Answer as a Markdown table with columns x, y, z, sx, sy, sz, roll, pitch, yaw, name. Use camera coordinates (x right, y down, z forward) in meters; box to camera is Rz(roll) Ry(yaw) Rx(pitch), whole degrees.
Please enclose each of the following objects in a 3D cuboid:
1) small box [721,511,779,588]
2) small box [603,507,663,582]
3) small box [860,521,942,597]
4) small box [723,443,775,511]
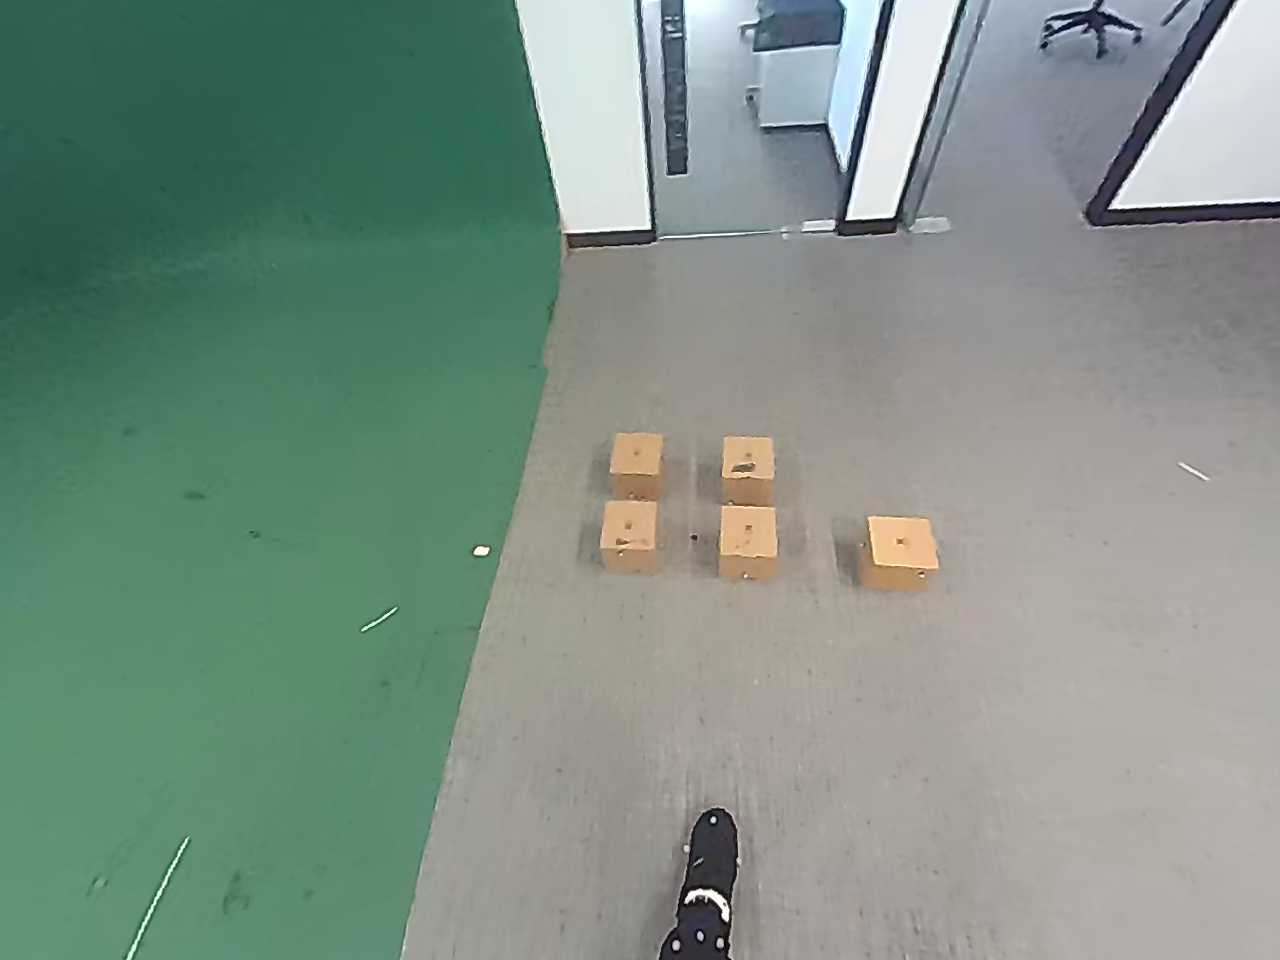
| x | y | z | sx | sy | sz | roll | pitch | yaw | name |
| --- | --- | --- | --- | --- | --- | --- | --- | --- | --- |
| 0.338 | 0.216 | 1.681 | 0.168 | 0.176 | 0.179 | 2 | 54 | 9 | small box |
| -0.016 | 0.206 | 1.732 | 0.168 | 0.176 | 0.179 | 0 | 53 | 8 | small box |
| 0.767 | 0.238 | 1.615 | 0.179 | 0.176 | 0.168 | 3 | 54 | 8 | small box |
| 0.370 | -0.008 | 1.843 | 0.168 | 0.176 | 0.179 | 2 | 53 | 8 | small box |
